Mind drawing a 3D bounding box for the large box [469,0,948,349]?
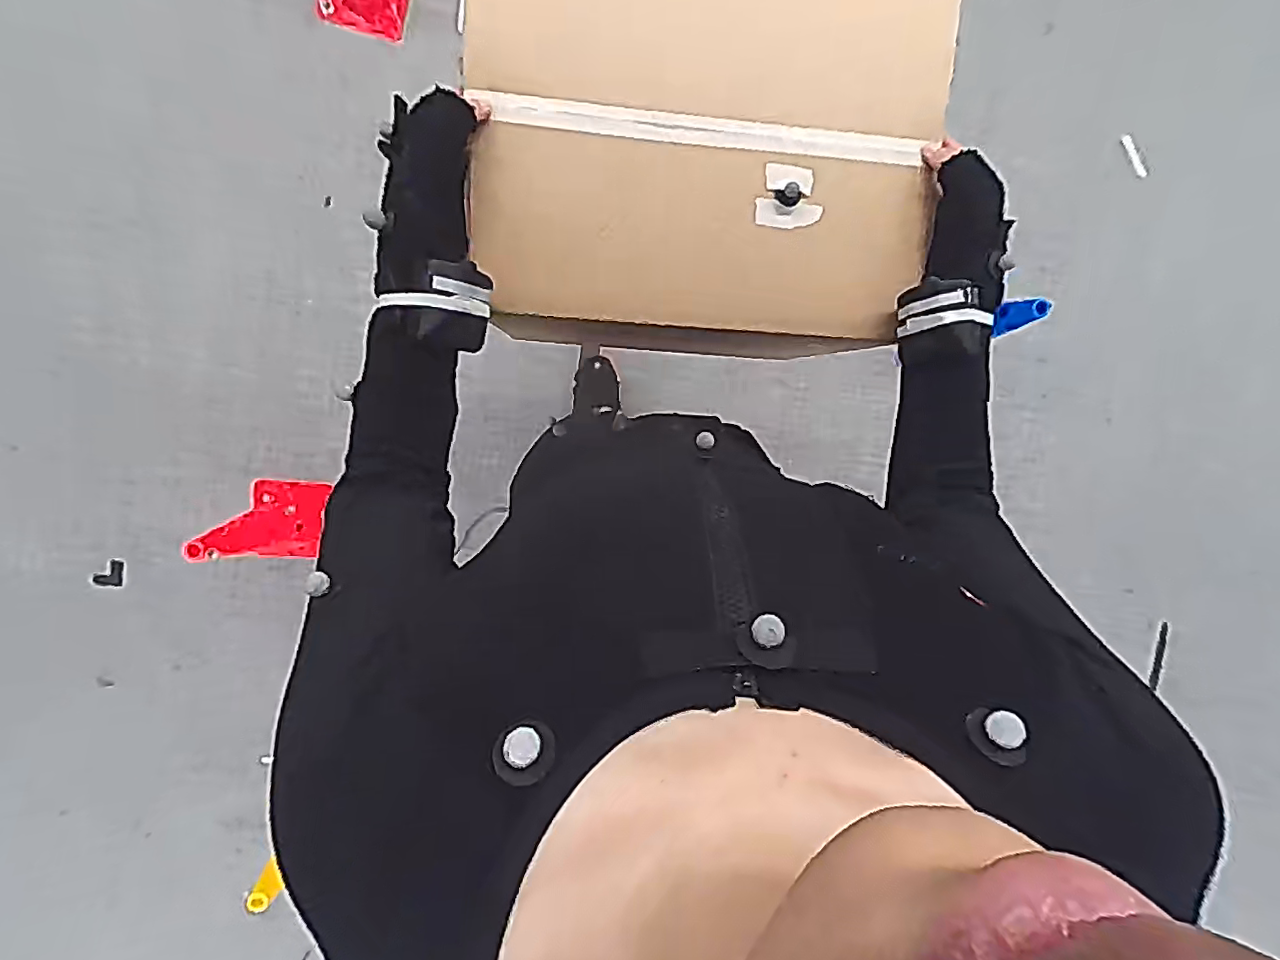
[{"bbox_3d":[0.042,-0.323,0.600,0.408,0.320,0.320,2,100,-7],"label":"large box"}]

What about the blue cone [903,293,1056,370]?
[{"bbox_3d":[0.837,-0.391,1.326,0.192,0.380,0.193,10,95,-7],"label":"blue cone"}]

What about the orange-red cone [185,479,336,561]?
[{"bbox_3d":[-0.874,0.122,1.222,0.198,0.360,0.199,5,97,-4],"label":"orange-red cone"}]

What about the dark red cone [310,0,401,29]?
[{"bbox_3d":[-0.631,-1.148,1.083,0.201,0.394,0.202,13,95,-7],"label":"dark red cone"}]
